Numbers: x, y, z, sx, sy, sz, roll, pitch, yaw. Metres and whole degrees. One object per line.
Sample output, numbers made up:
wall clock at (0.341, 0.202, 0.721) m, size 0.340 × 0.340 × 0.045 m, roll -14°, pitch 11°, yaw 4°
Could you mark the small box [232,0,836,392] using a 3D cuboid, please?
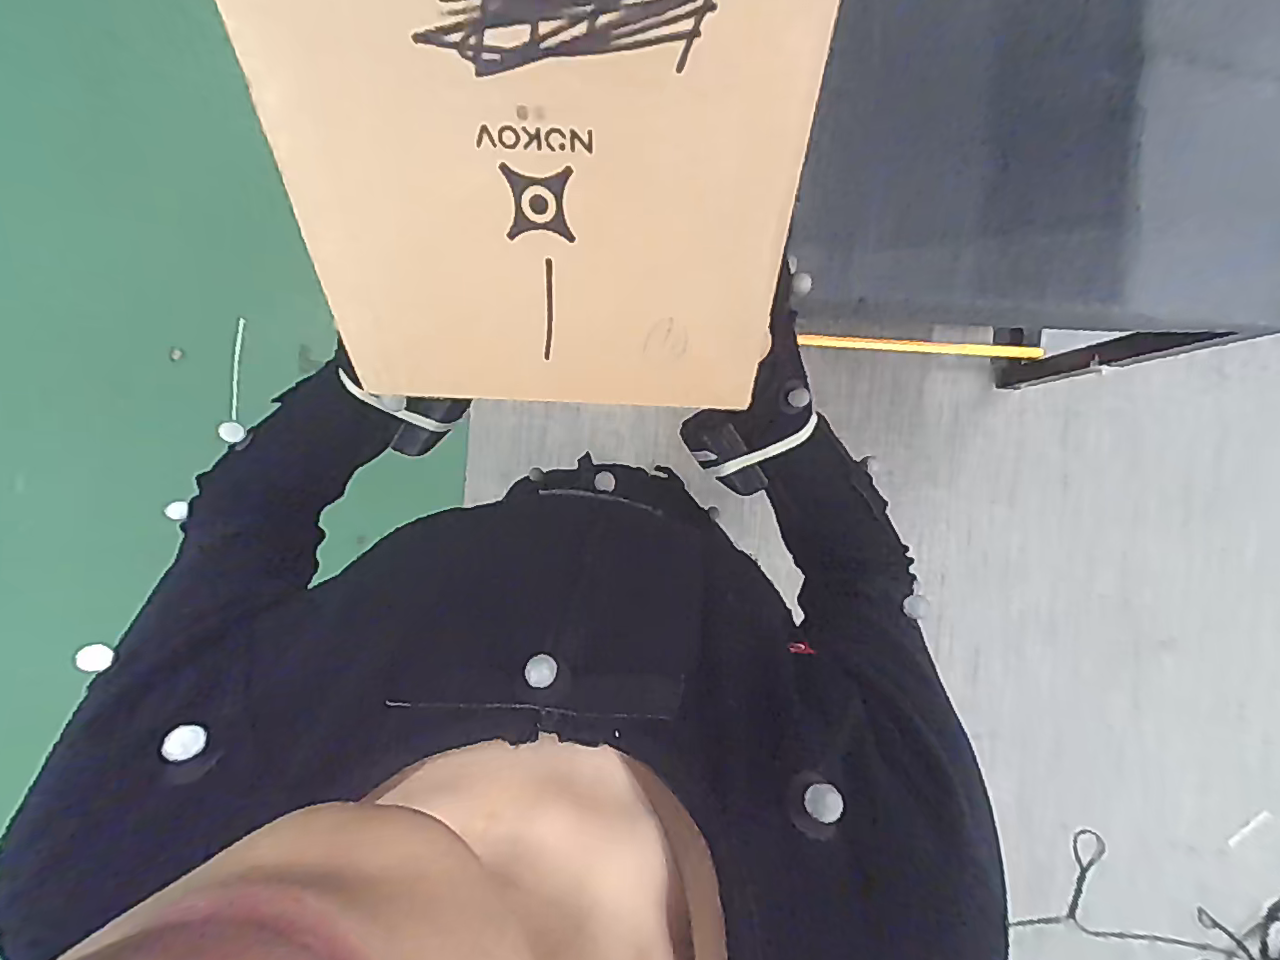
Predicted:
small box at (-0.031, -0.158, 0.229) m, size 0.168 × 0.176 × 0.179 m, roll 2°, pitch 132°, yaw -2°
